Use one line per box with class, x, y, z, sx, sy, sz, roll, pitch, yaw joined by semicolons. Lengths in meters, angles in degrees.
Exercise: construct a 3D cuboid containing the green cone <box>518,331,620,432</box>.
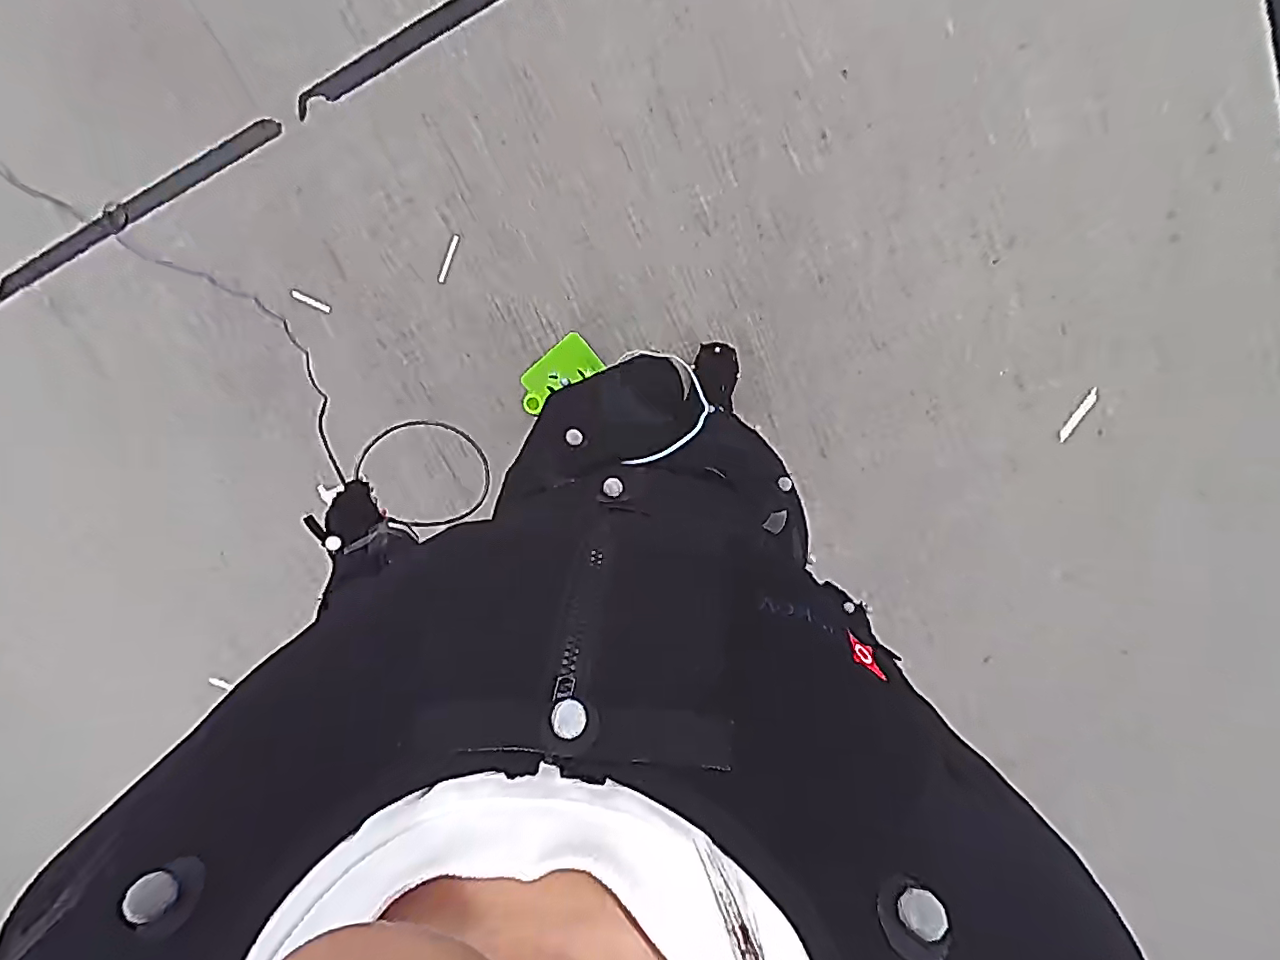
green cone;-0.198;-0.204;1.229;0.202;0.368;0.200;-37;98;16
